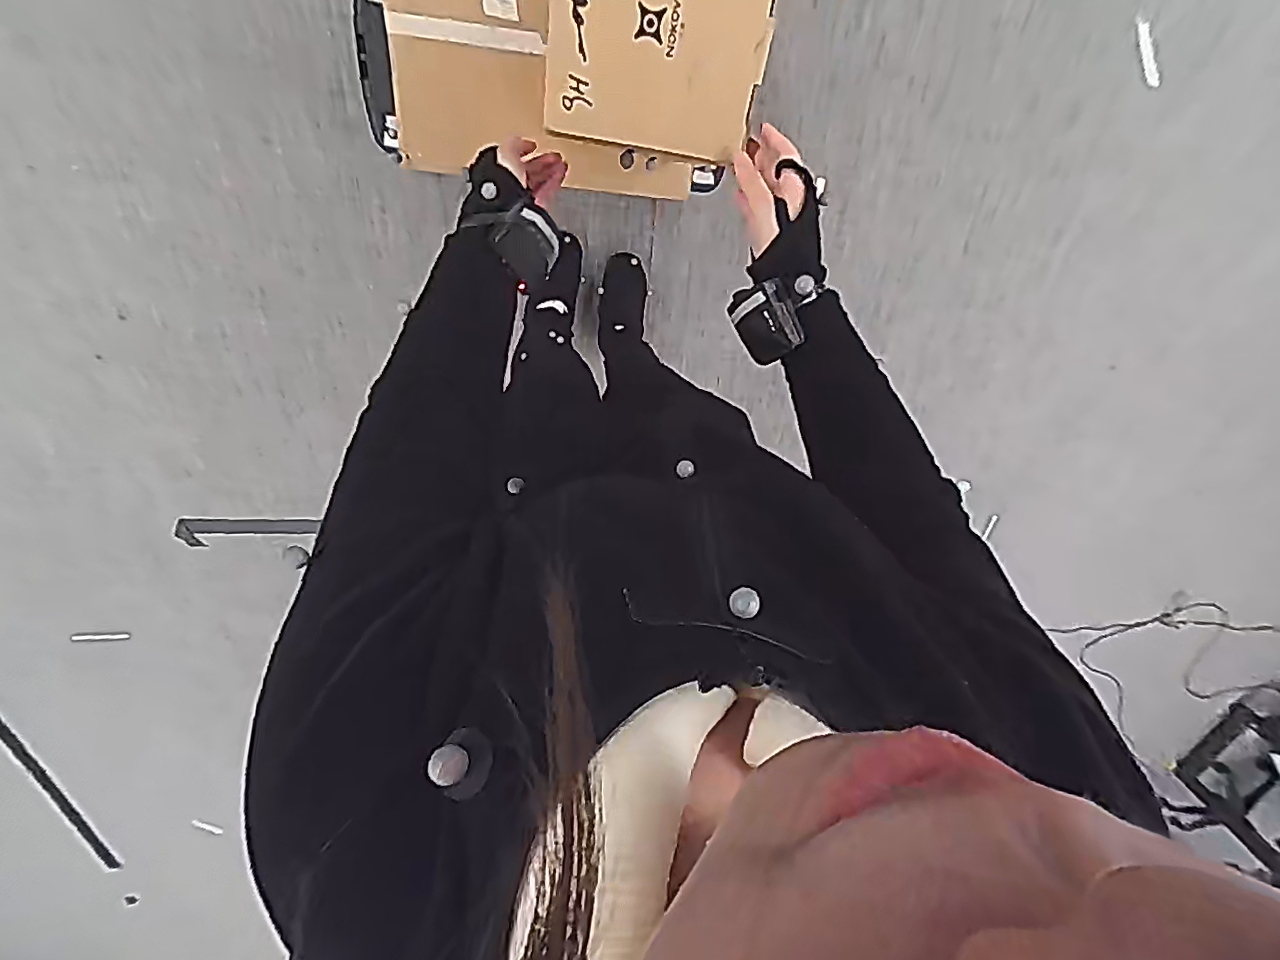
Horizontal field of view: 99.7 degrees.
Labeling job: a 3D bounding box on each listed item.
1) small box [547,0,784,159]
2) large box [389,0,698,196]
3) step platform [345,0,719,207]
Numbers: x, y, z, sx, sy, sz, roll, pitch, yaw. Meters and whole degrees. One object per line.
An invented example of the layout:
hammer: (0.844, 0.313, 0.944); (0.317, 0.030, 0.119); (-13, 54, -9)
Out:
small box: (0.012, -0.398, 0.483); (0.179, 0.176, 0.168); (4, 119, -12)
large box: (-0.120, -0.625, 0.808); (0.408, 0.320, 0.320); (2, 120, -8)
step platform: (-0.167, -0.733, 1.016); (0.684, 0.204, 0.286); (7, 120, -11)
